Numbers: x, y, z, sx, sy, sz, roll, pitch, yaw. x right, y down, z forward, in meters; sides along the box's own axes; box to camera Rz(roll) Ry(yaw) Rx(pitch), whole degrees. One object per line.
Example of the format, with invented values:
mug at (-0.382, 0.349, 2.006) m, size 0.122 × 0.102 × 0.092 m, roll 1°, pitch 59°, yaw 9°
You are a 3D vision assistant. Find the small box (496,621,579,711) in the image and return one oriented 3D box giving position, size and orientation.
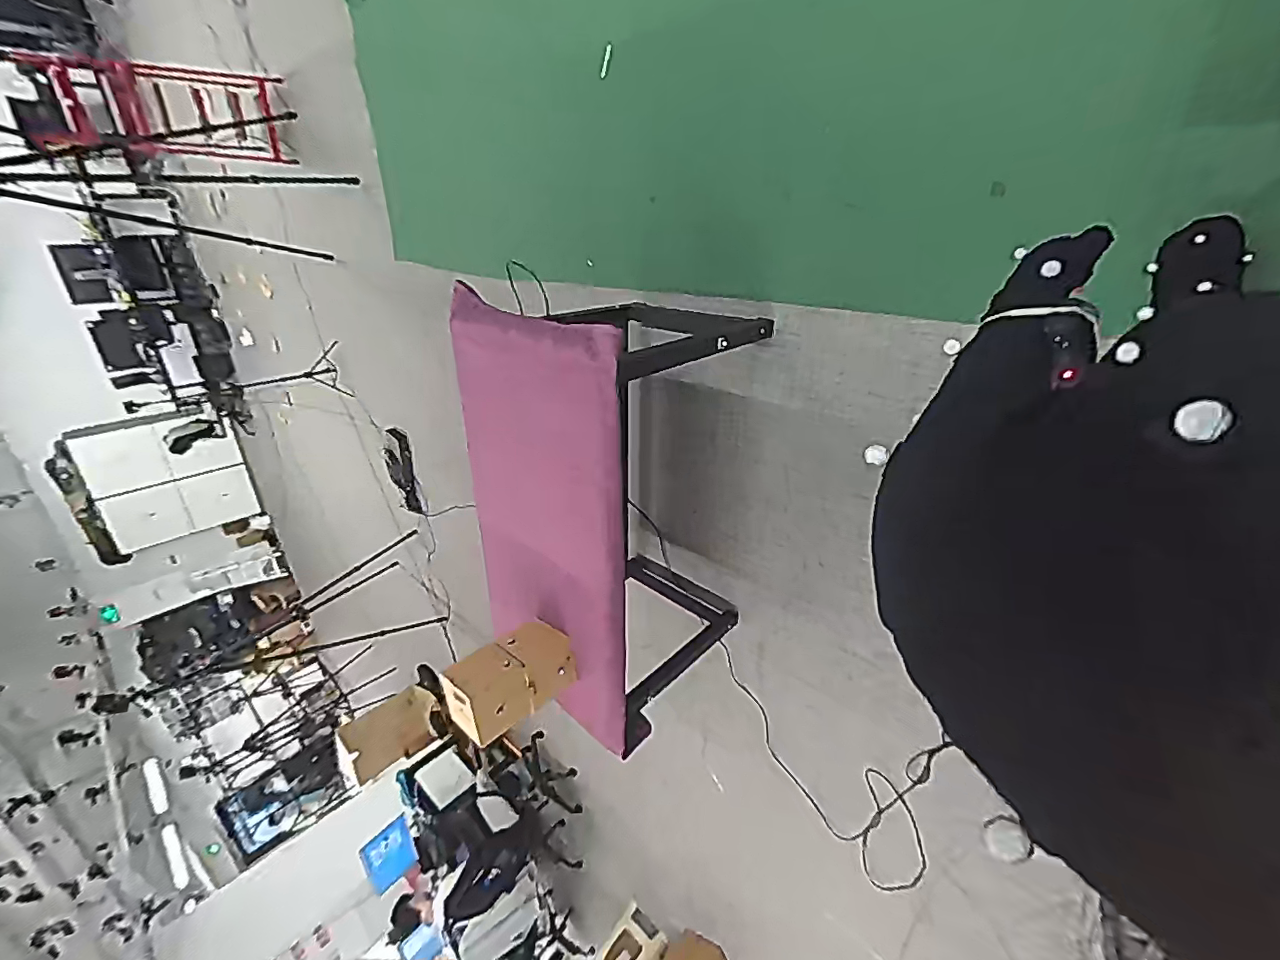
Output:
small box at (-0.307, 0.550, 1.634) m, size 0.179 × 0.176 × 0.168 m, roll 16°, pitch 120°, yaw 42°

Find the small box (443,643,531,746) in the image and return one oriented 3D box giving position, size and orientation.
small box at (-0.427, 0.595, 1.525) m, size 0.168 × 0.176 × 0.179 m, roll 20°, pitch 122°, yaw 42°
